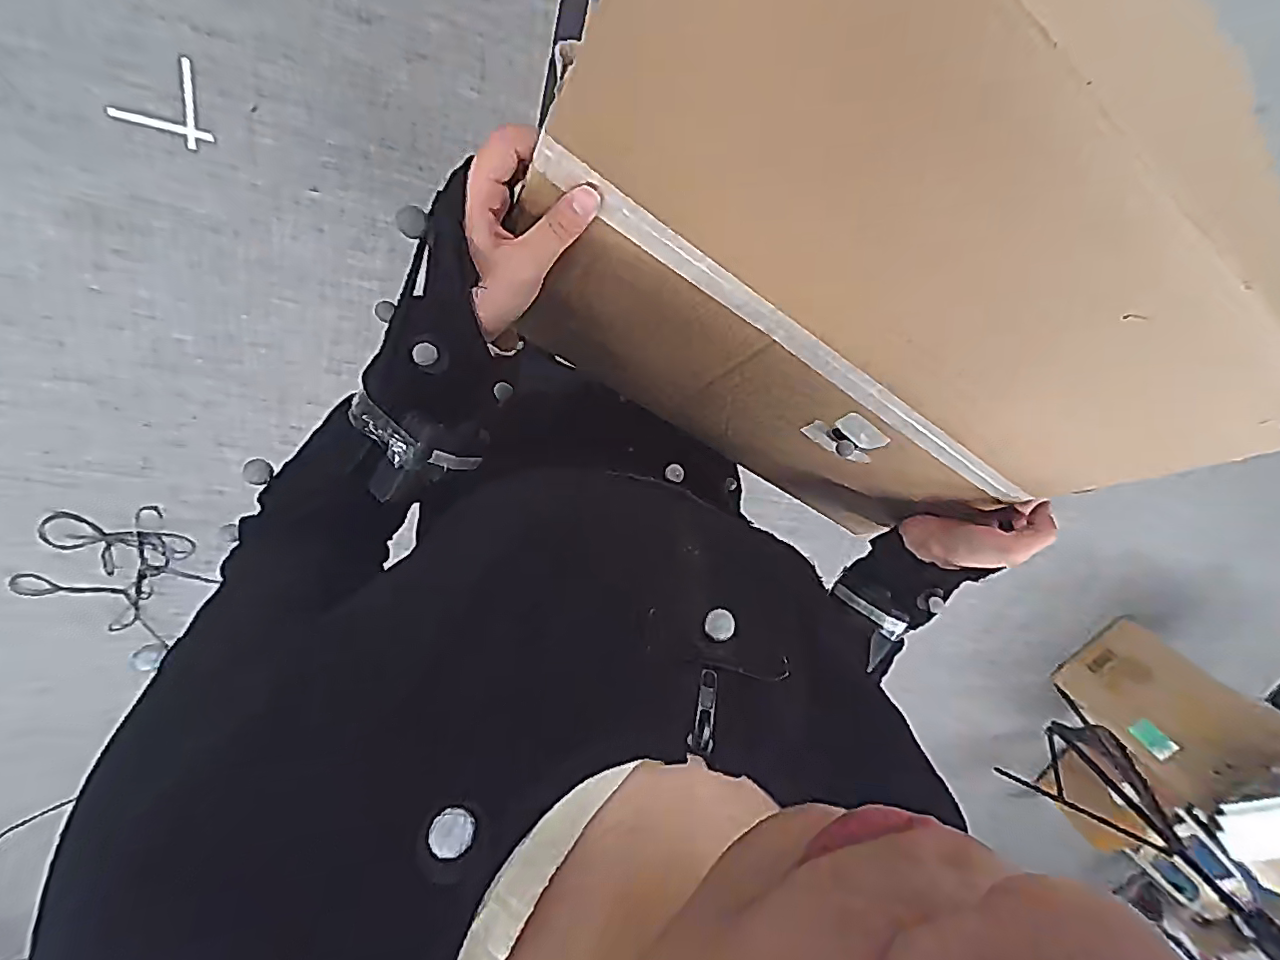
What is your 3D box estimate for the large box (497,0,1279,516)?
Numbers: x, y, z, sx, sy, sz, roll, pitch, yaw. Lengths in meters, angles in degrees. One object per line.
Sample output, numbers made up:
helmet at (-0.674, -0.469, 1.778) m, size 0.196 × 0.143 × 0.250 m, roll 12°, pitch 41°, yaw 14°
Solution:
large box at (0.175, -0.219, 0.372) m, size 0.408 × 0.320 × 0.320 m, roll 27°, pitch 65°, yaw -20°
